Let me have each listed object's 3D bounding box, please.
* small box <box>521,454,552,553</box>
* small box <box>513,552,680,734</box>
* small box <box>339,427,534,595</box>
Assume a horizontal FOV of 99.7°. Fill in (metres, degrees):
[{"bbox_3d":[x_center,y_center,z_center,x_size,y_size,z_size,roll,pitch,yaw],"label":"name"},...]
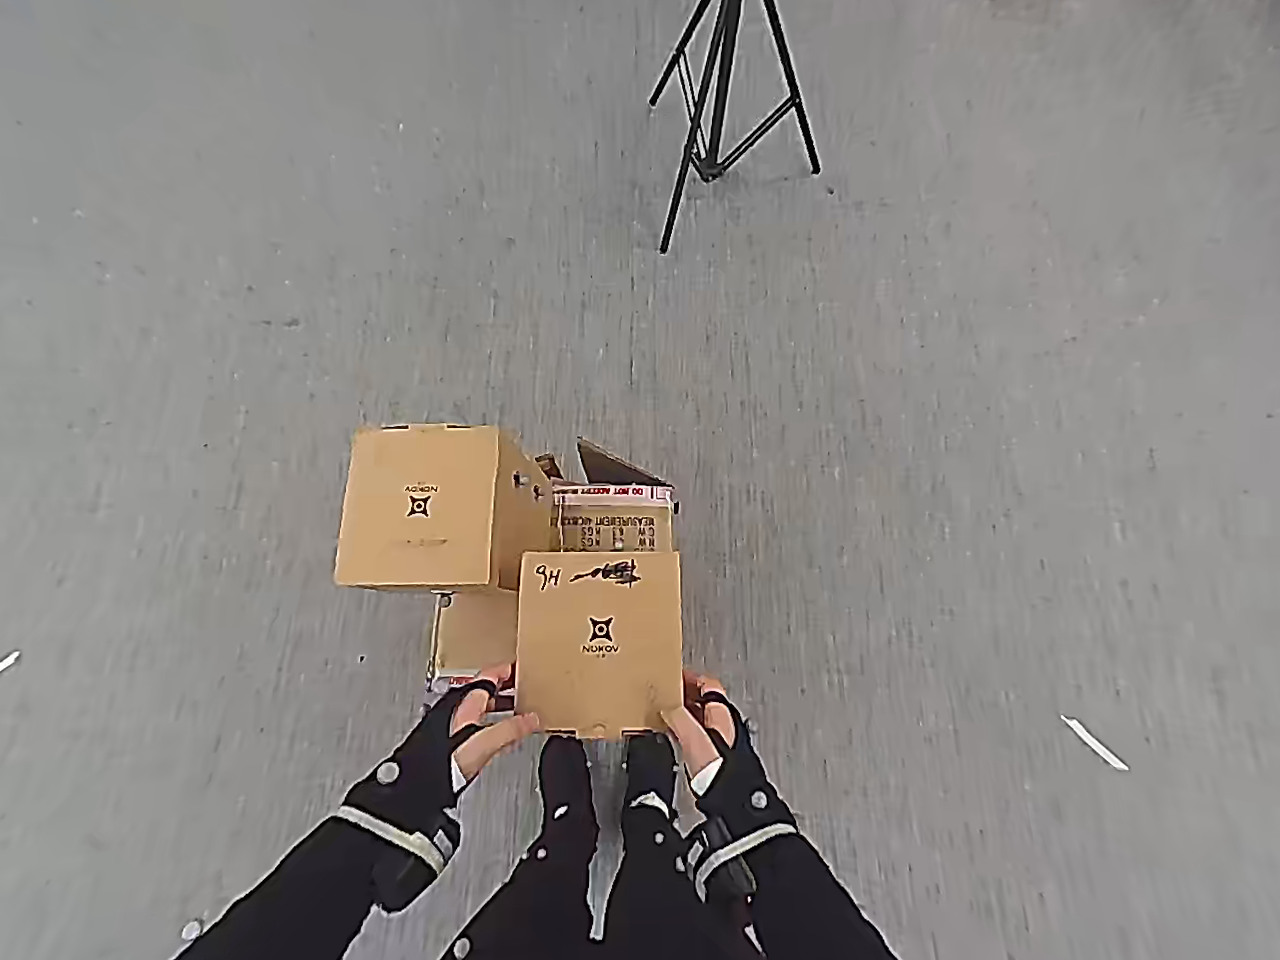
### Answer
[{"bbox_3d":[-0.231,0.069,0.818,0.168,0.176,0.179,-1,75,2],"label":"small box"},{"bbox_3d":[-0.041,0.179,0.617,0.168,0.176,0.179,0,75,0],"label":"small box"},{"bbox_3d":[-0.229,0.046,0.656,0.168,0.176,0.179,-1,76,2],"label":"small box"}]
